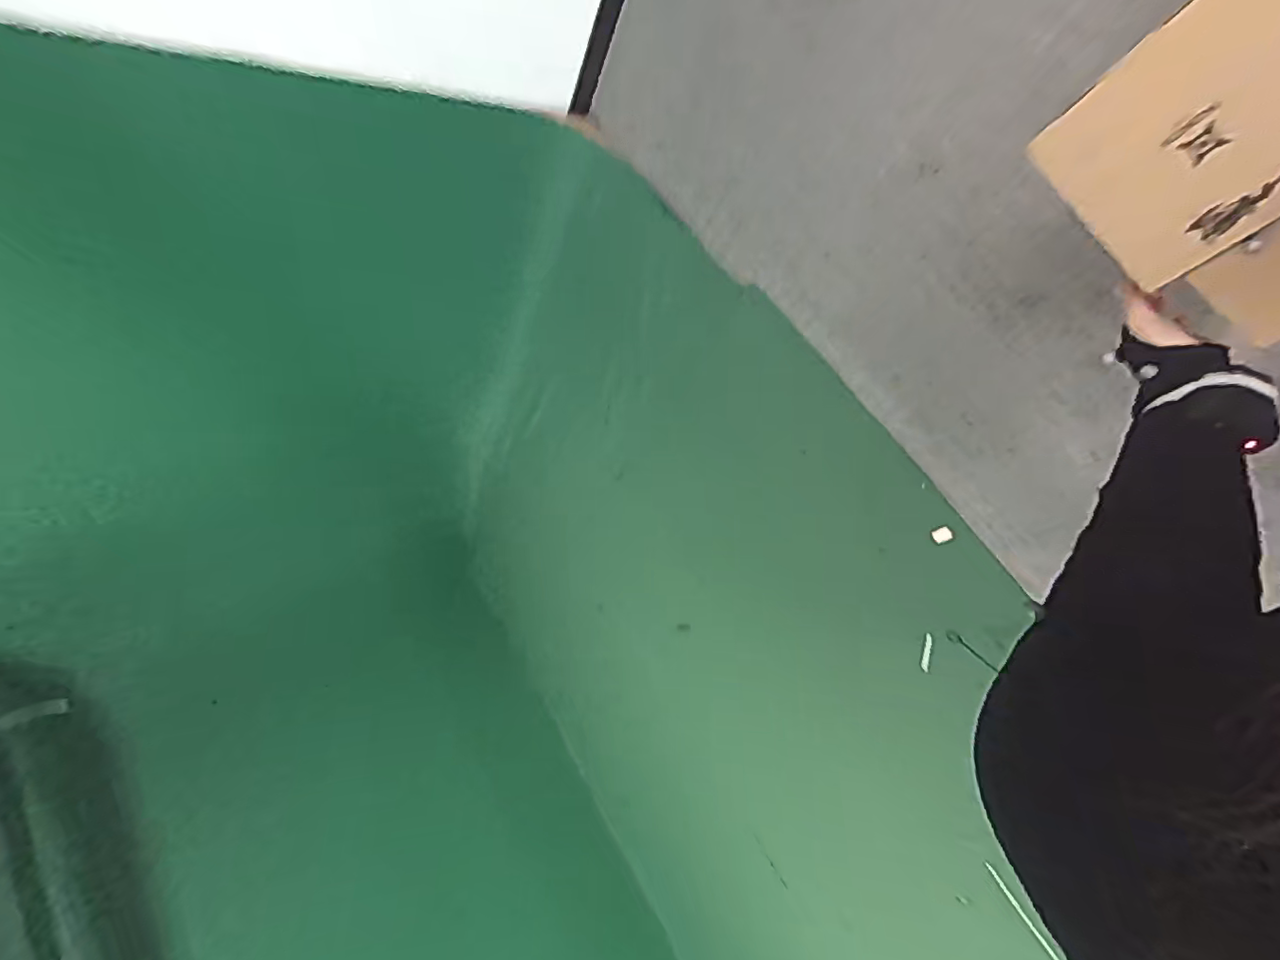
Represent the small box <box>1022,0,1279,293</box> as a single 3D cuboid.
[{"bbox_3d":[0.495,-0.289,0.484,0.168,0.176,0.179,-42,72,48],"label":"small box"}]
